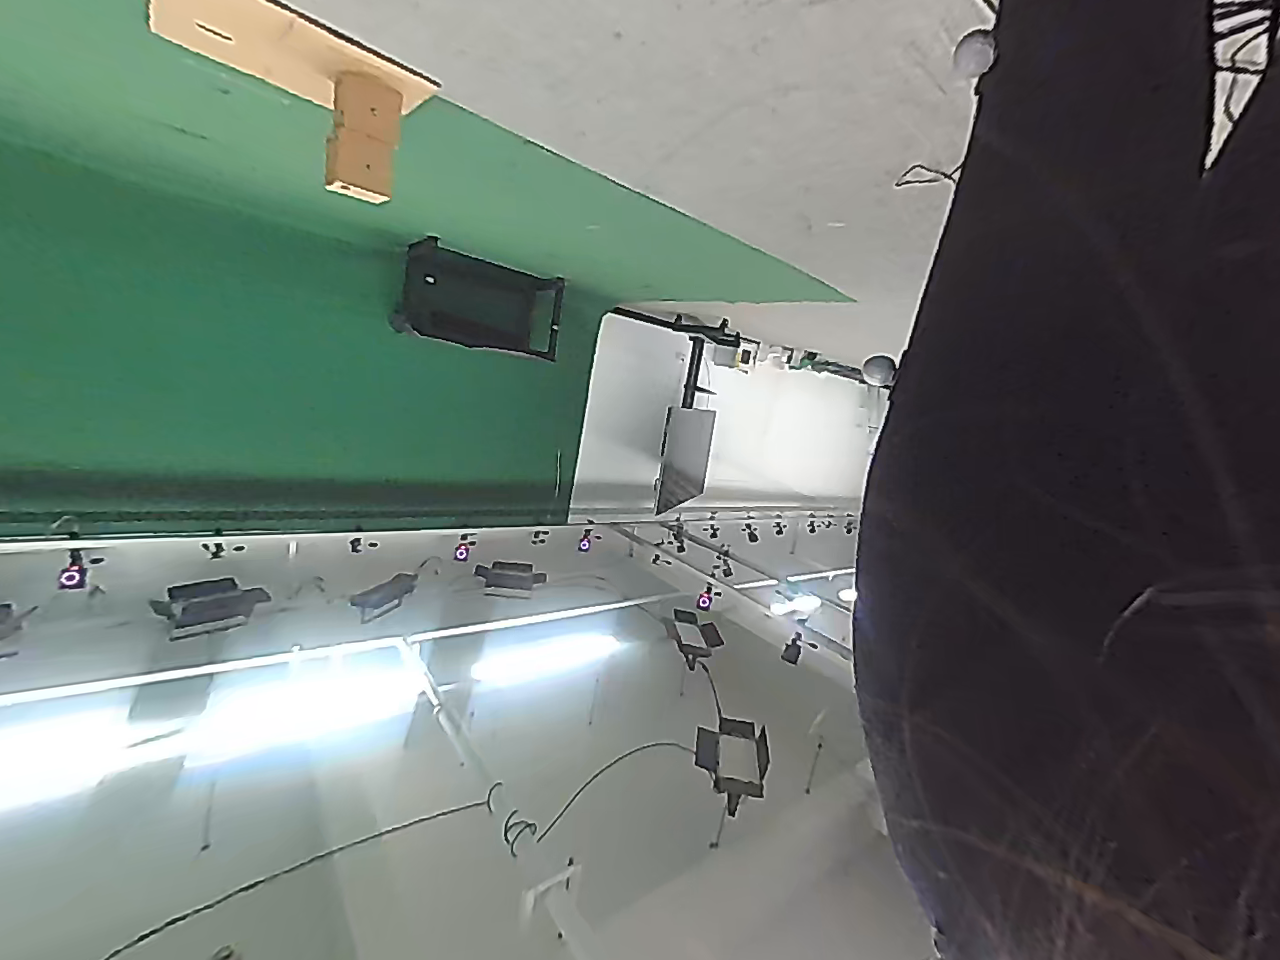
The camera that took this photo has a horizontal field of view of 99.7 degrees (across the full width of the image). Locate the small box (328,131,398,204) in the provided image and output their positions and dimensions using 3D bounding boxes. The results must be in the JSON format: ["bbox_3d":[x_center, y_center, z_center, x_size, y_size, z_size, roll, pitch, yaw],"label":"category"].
[{"bbox_3d":[-0.953,-1.077,1.862,0.179,0.176,0.168,-2,-164,-44],"label":"small box"}]
